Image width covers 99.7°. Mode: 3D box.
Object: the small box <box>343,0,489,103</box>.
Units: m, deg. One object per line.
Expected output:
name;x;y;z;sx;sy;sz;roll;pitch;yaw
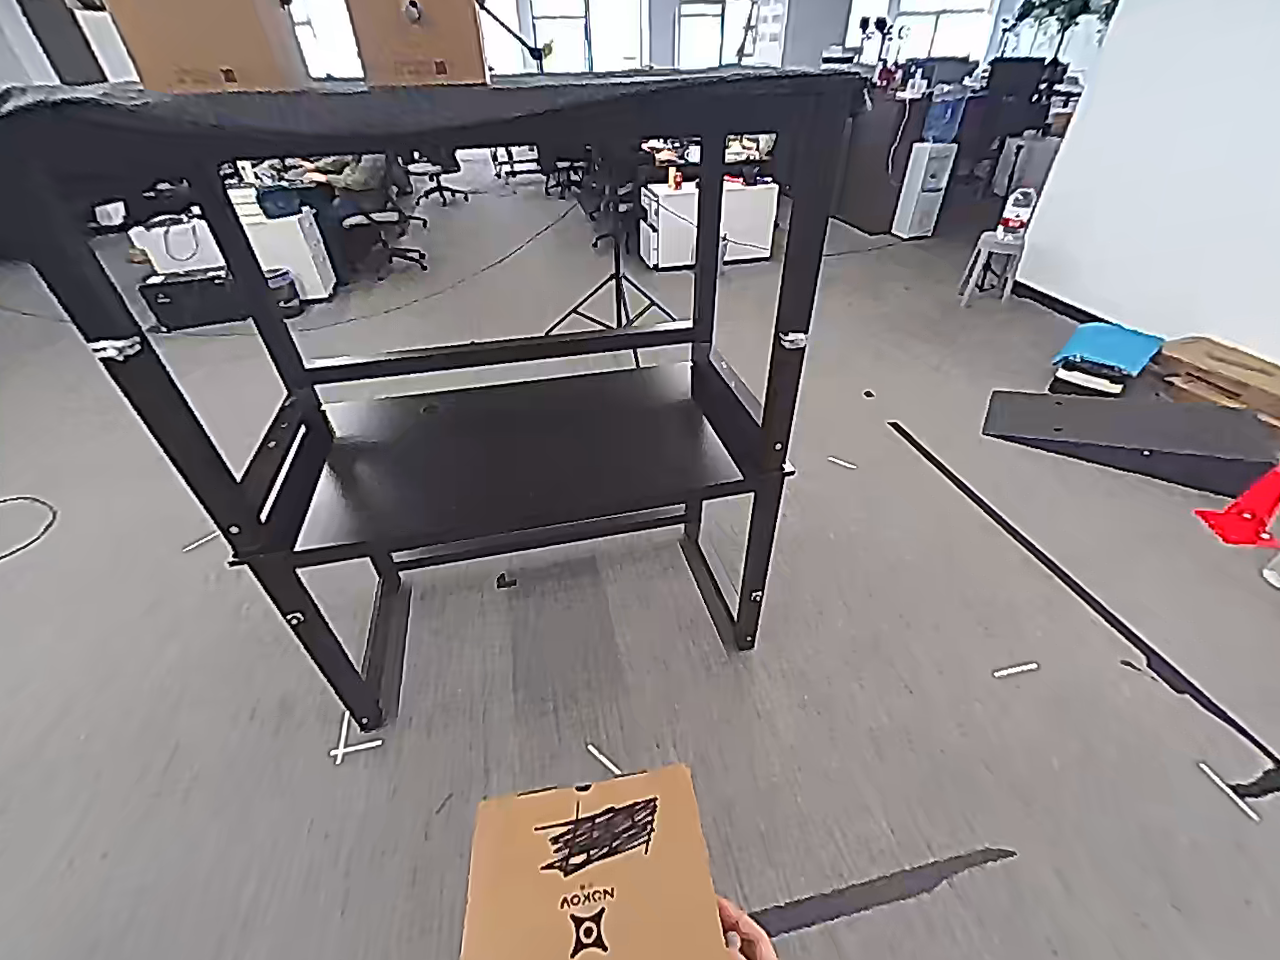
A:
small box;-0.314;-0.649;0.777;0.168;0.176;0.179;-8;37;-10

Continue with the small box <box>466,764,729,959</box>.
small box;-0.024;0.350;0.399;0.168;0.176;0.179;-9;33;-4
